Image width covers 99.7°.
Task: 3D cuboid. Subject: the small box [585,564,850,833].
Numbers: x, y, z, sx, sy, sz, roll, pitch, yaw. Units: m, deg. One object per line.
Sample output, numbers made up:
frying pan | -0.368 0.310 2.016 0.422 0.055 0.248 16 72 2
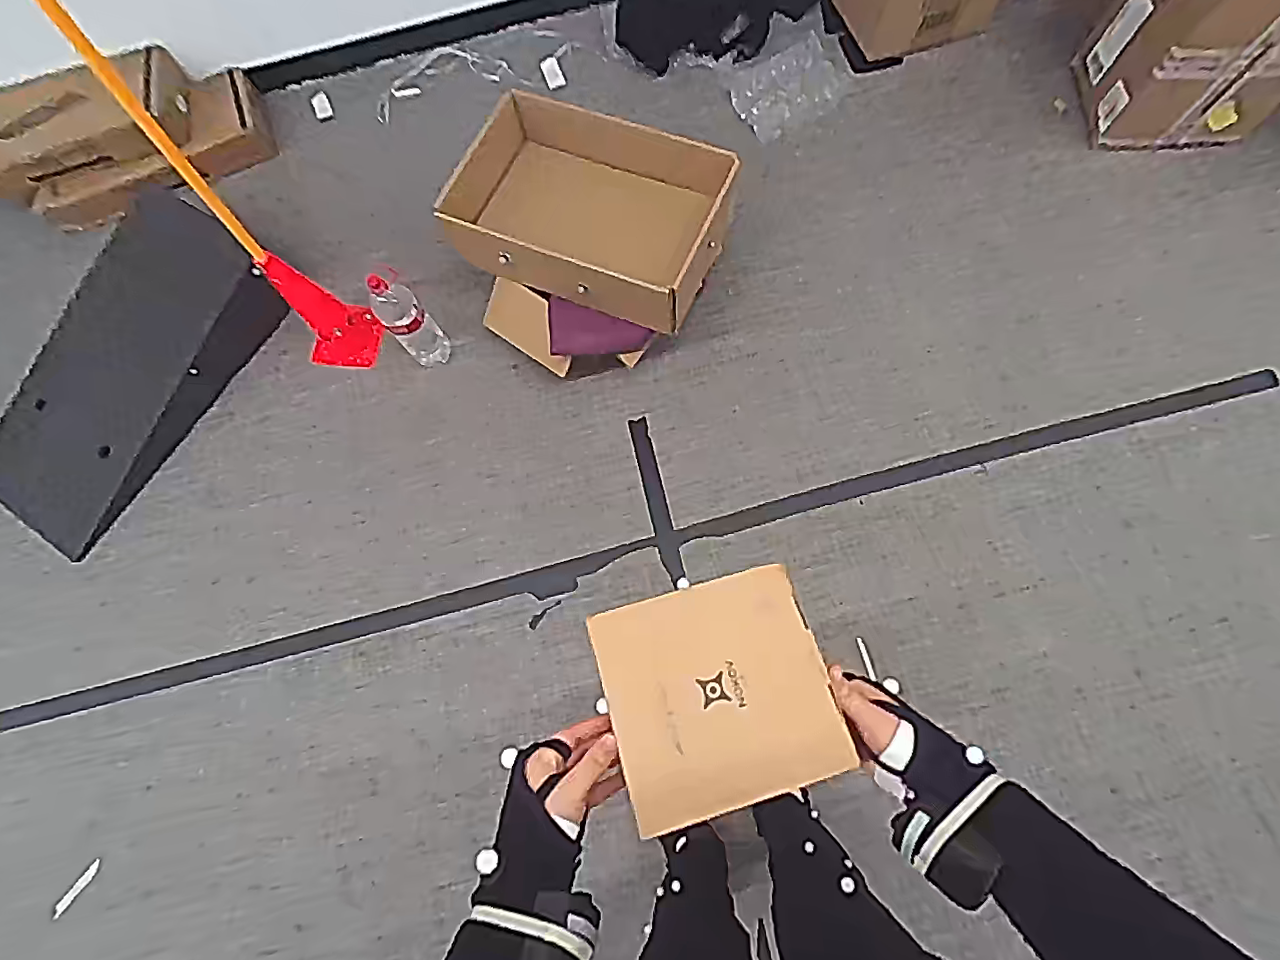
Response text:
small box | 0.059 0.197 0.508 0.179 0.176 0.168 -16 67 -5
